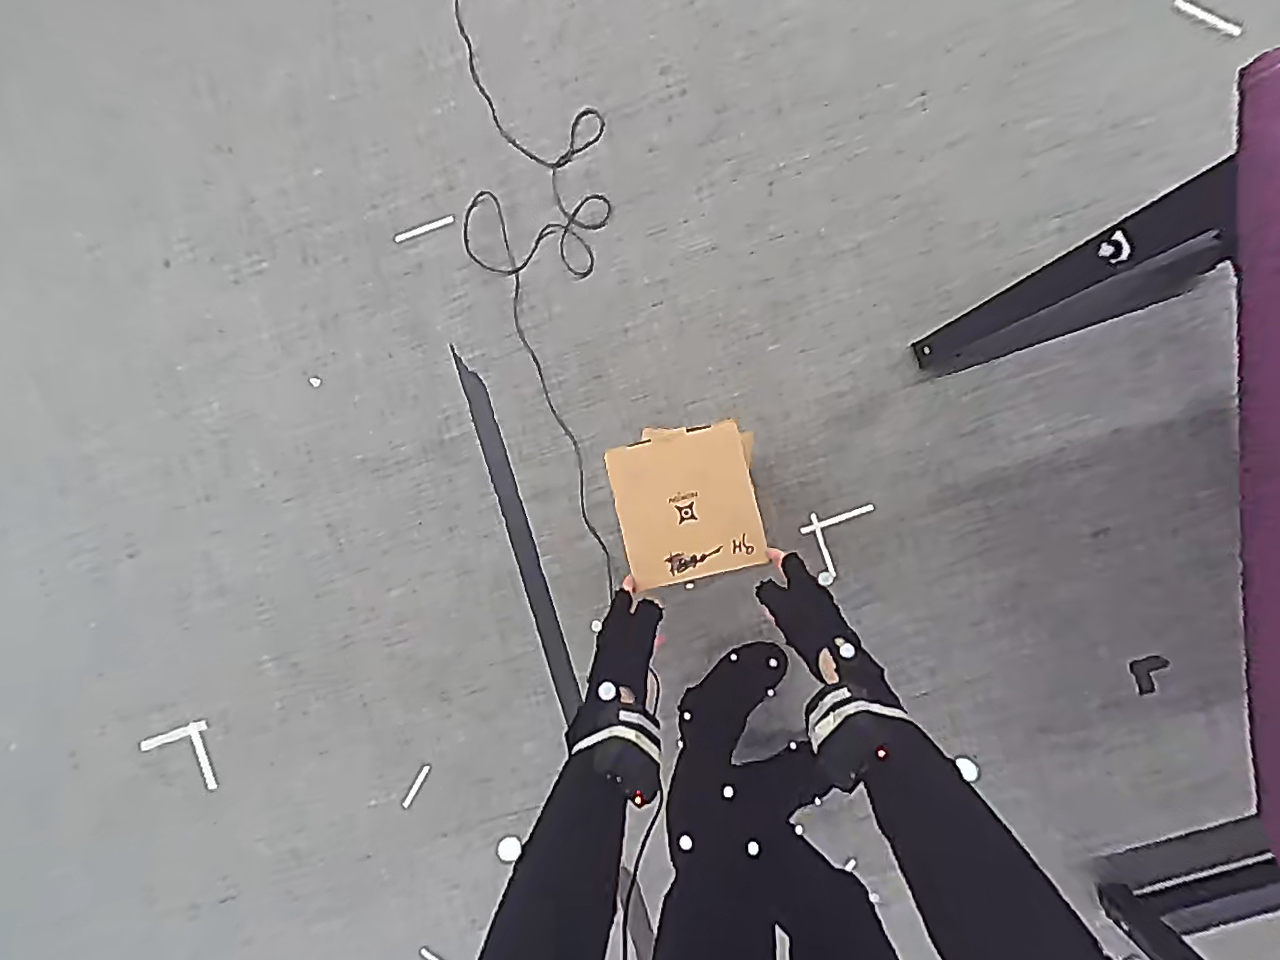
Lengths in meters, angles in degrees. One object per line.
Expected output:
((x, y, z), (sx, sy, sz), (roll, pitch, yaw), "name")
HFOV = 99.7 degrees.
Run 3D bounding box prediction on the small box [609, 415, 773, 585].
((0.064, 0.030, 0.717), (0.168, 0.176, 0.179), (-13, 85, 4), "small box")
